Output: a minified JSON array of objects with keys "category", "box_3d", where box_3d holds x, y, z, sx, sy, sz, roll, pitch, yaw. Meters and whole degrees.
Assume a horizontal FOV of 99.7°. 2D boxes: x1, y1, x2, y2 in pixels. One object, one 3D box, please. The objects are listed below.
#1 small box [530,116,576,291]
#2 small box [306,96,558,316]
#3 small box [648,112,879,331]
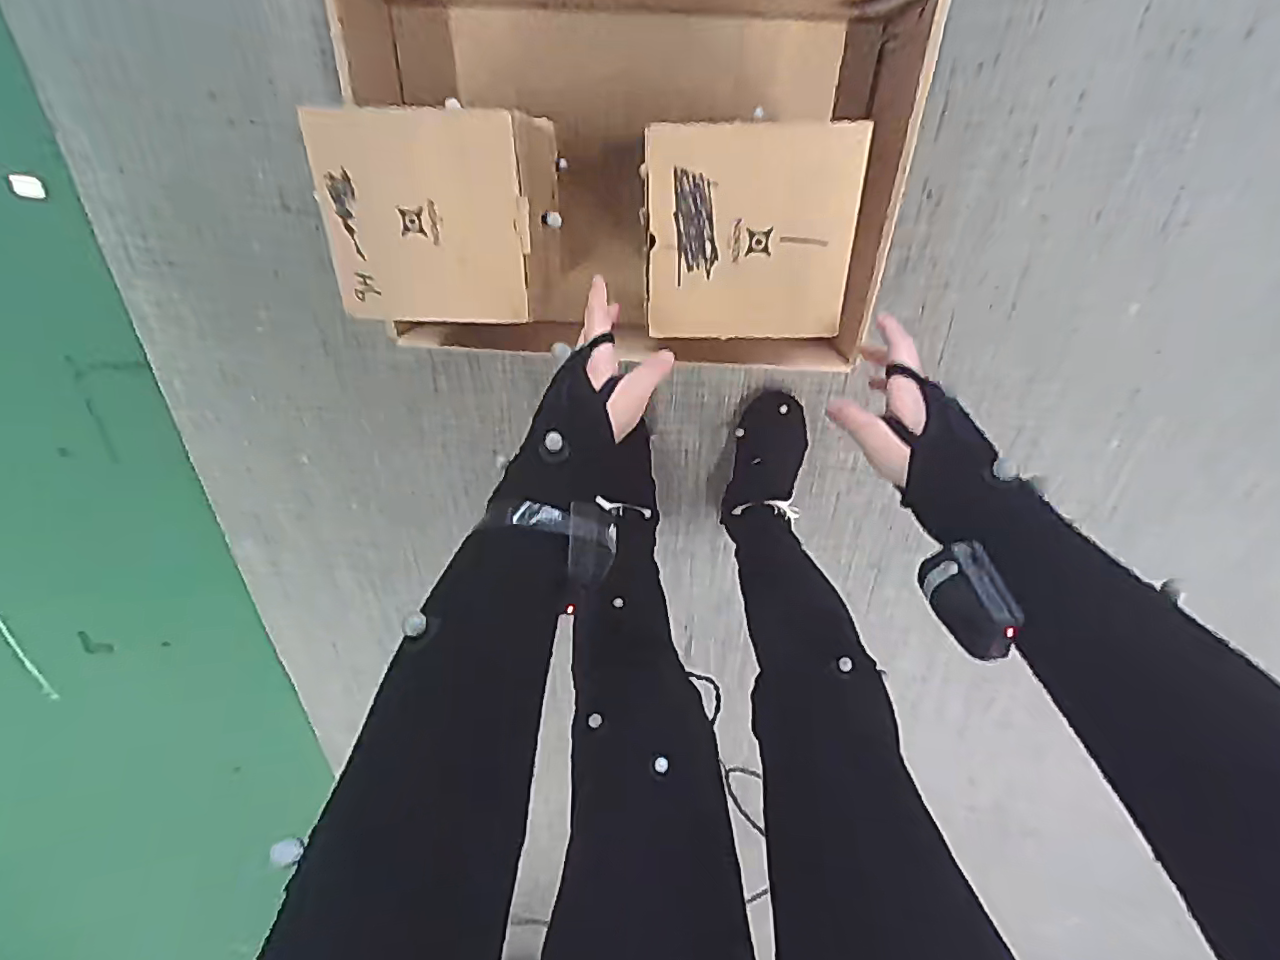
[{"category":"small box","box_3d":[-0.172,-0.345,0.671,0.168,0.176,0.179,4,118,1]},{"category":"small box","box_3d":[-0.177,-0.264,0.530,0.179,0.176,0.168,2,118,0]},{"category":"small box","box_3d":[0.099,-0.247,0.521,0.179,0.176,0.168,1,120,2]}]
